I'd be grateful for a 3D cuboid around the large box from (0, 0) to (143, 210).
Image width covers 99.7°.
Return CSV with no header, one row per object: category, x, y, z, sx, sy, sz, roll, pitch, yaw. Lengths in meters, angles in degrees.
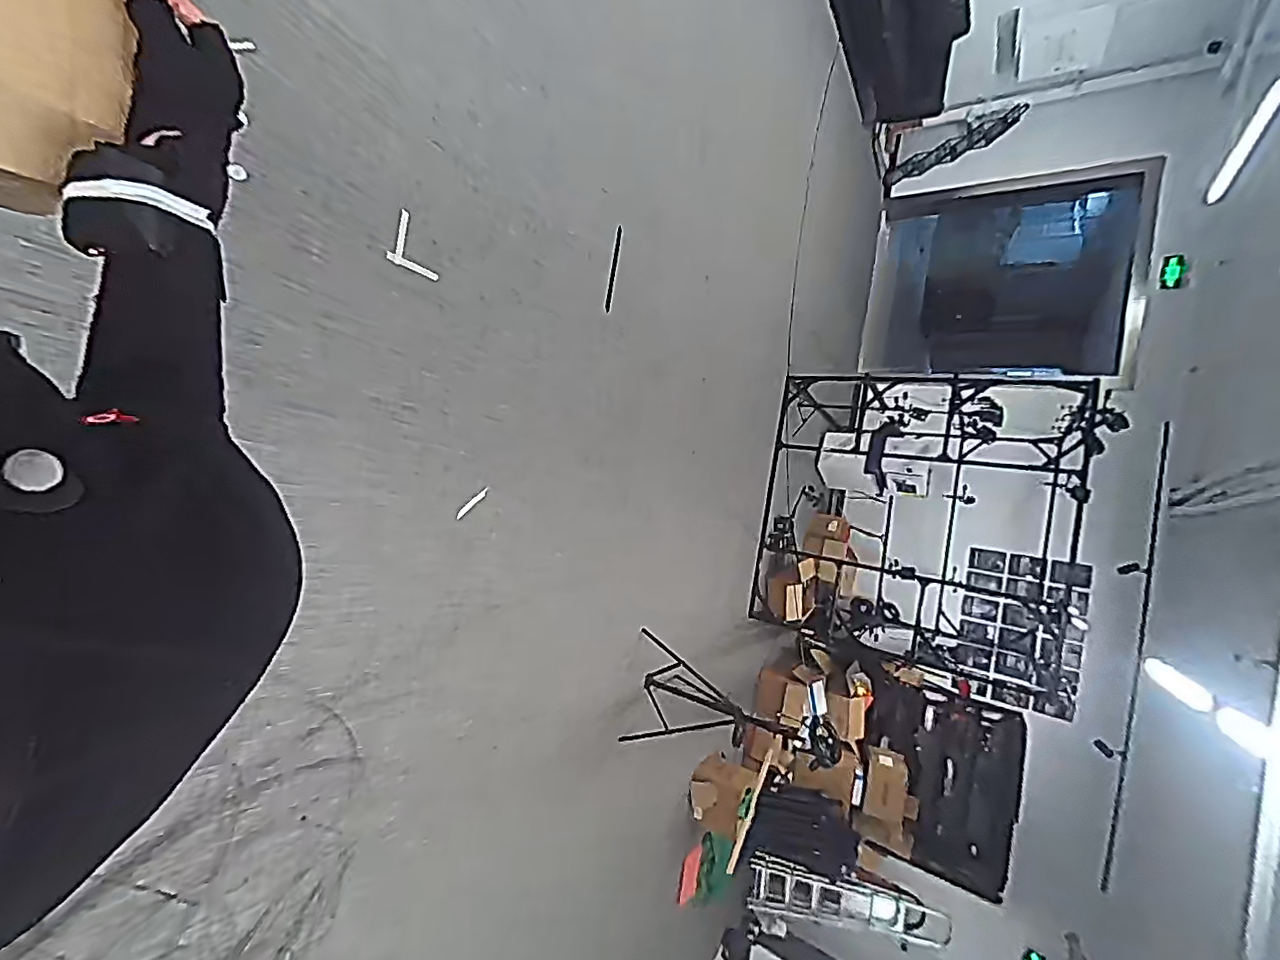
large box,-0.611,-0.395,0.321,0.408,0.320,0.320,-3,107,-59
